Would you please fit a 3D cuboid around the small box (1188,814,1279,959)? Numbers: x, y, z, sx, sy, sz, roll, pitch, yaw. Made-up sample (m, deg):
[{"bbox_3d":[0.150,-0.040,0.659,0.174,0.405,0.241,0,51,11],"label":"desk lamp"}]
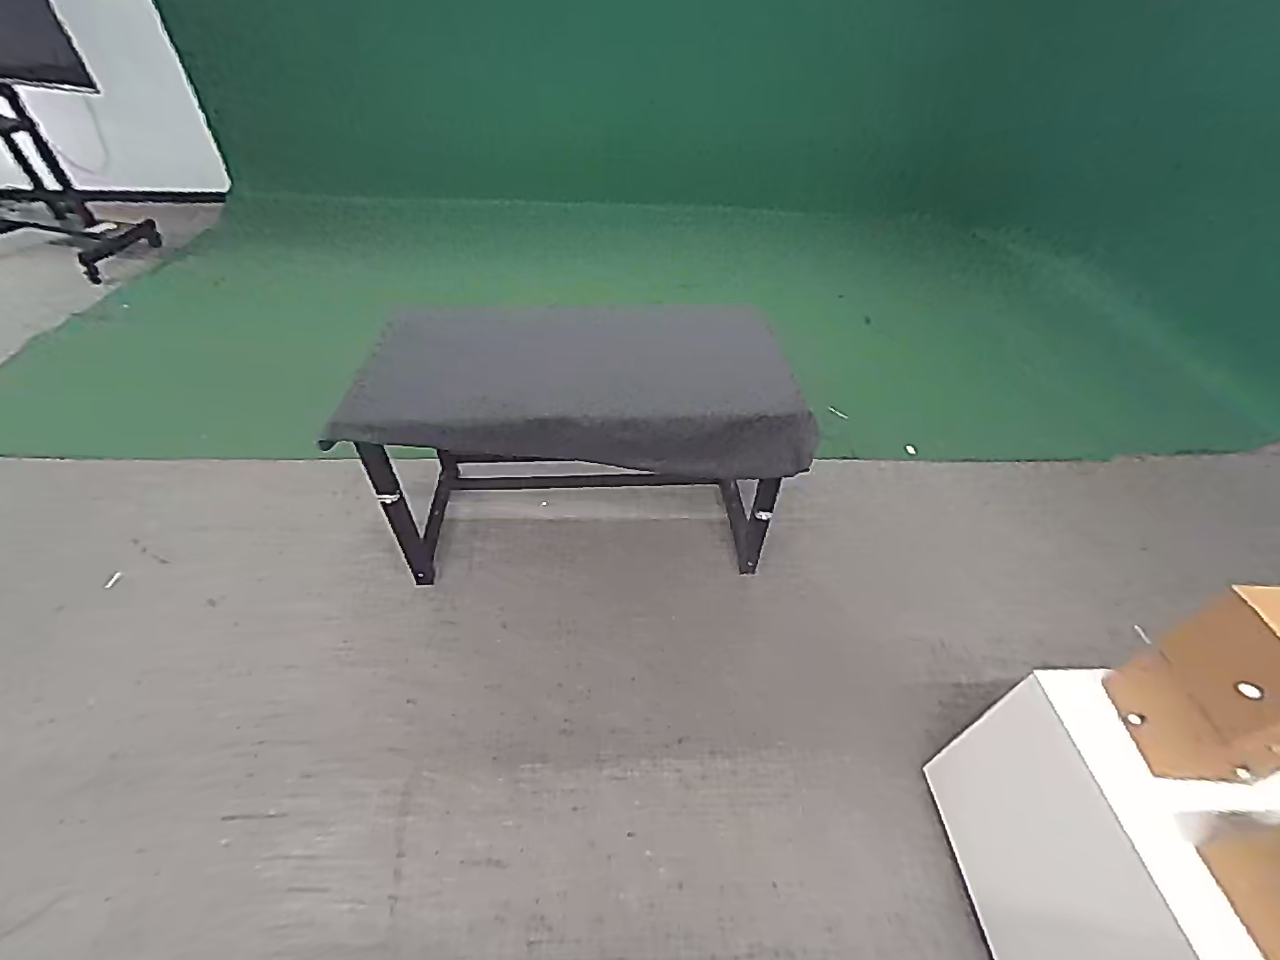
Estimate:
[{"bbox_3d":[0.955,0.590,0.757,0.168,0.176,0.179,1,44,-4],"label":"small box"}]
